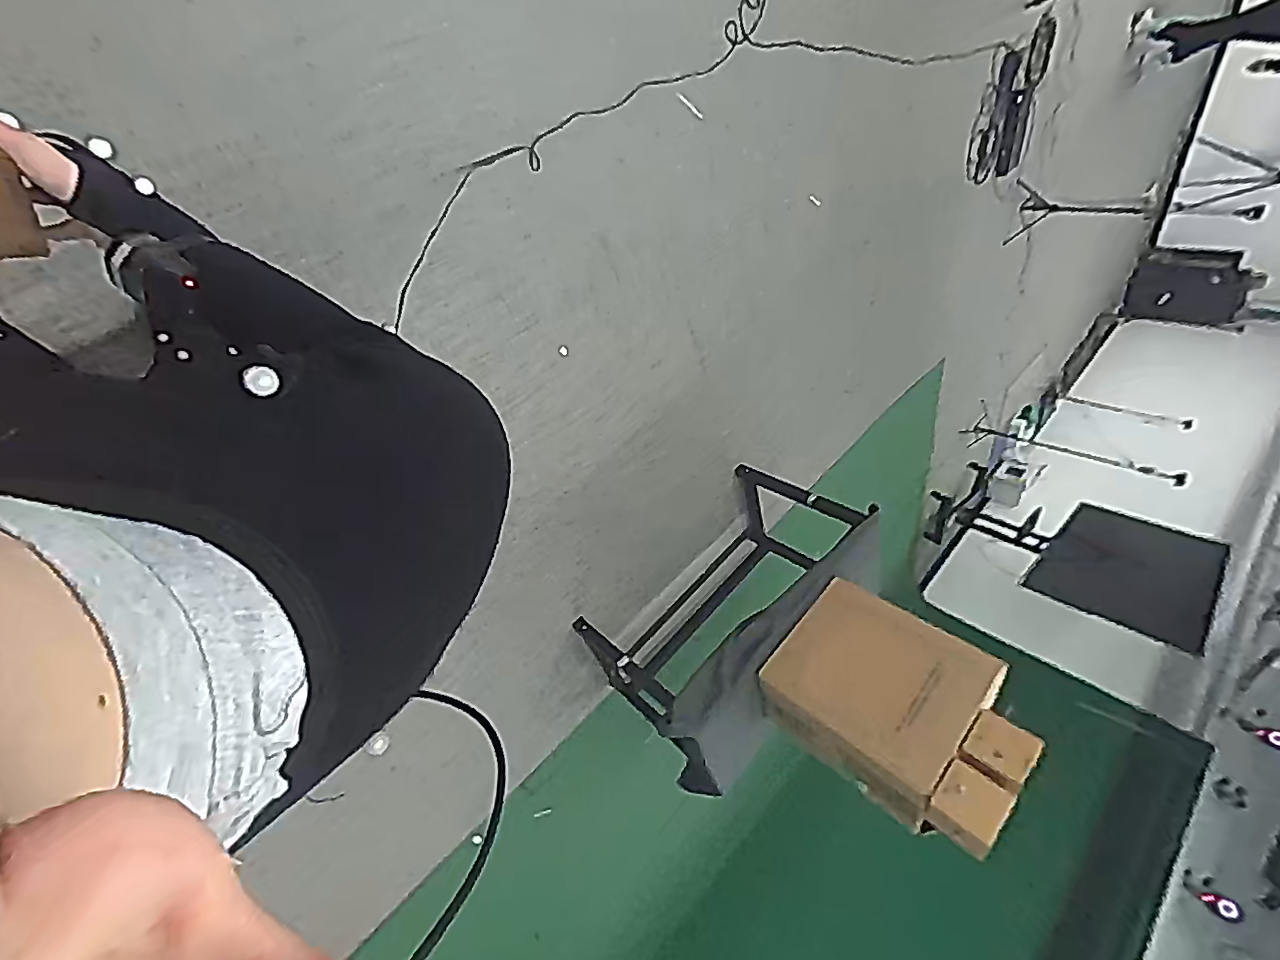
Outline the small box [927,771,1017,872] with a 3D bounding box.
[{"bbox_3d":[0.972,1.001,1.597,0.168,0.176,0.179,-41,134,-21],"label":"small box"}]
